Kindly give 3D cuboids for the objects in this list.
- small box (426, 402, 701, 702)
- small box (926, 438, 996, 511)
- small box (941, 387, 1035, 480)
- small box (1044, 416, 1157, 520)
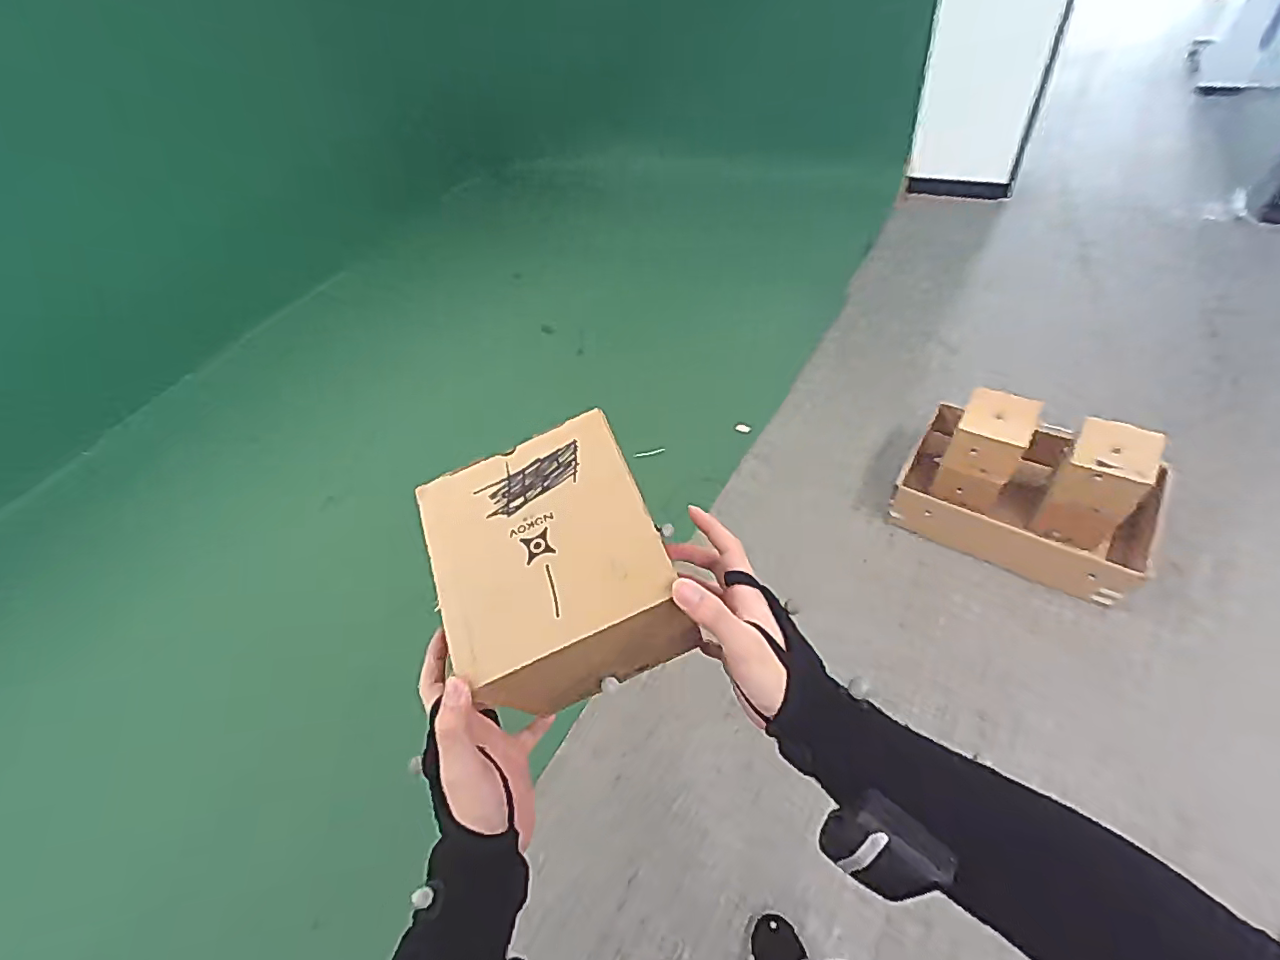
[{"bbox_3d":[-0.058,0.071,0.470,0.168,0.176,0.179,-23,60,-1],"label":"small box"},{"bbox_3d":[1.000,-0.034,1.658,0.168,0.176,0.179,24,62,27],"label":"small box"},{"bbox_3d":[0.974,-0.128,1.529,0.168,0.176,0.179,23,62,27],"label":"small box"},{"bbox_3d":[1.187,-0.030,1.404,0.168,0.176,0.179,23,61,29],"label":"small box"}]
